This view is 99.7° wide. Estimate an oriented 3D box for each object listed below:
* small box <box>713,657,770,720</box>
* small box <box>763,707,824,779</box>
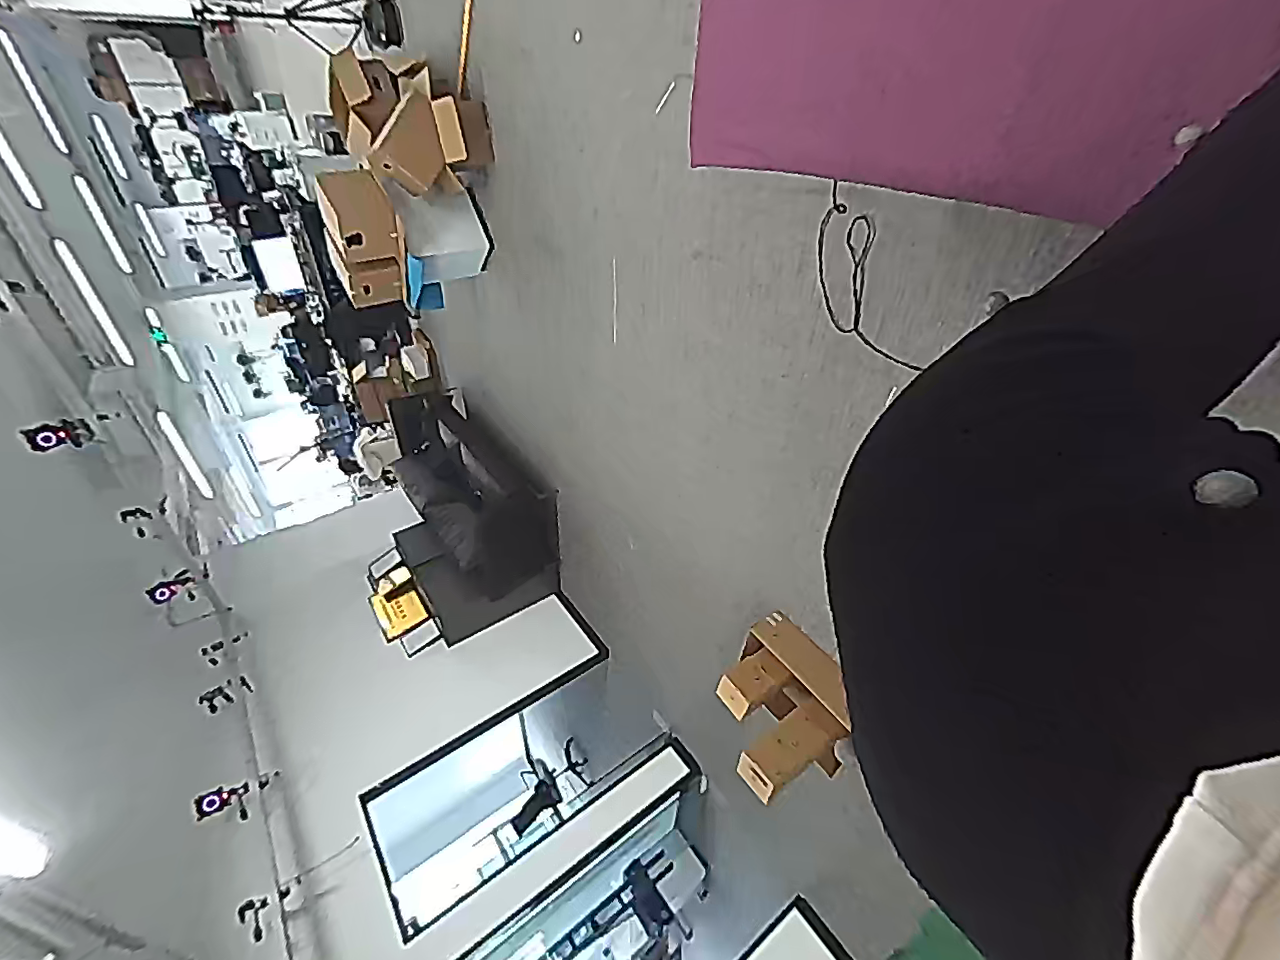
[{"bbox_3d":[0.458,0.937,2.432,0.168,0.176,0.179,45,143,33],"label":"small box"},{"bbox_3d":[0.640,1.089,2.248,0.168,0.176,0.179,39,141,38],"label":"small box"}]
